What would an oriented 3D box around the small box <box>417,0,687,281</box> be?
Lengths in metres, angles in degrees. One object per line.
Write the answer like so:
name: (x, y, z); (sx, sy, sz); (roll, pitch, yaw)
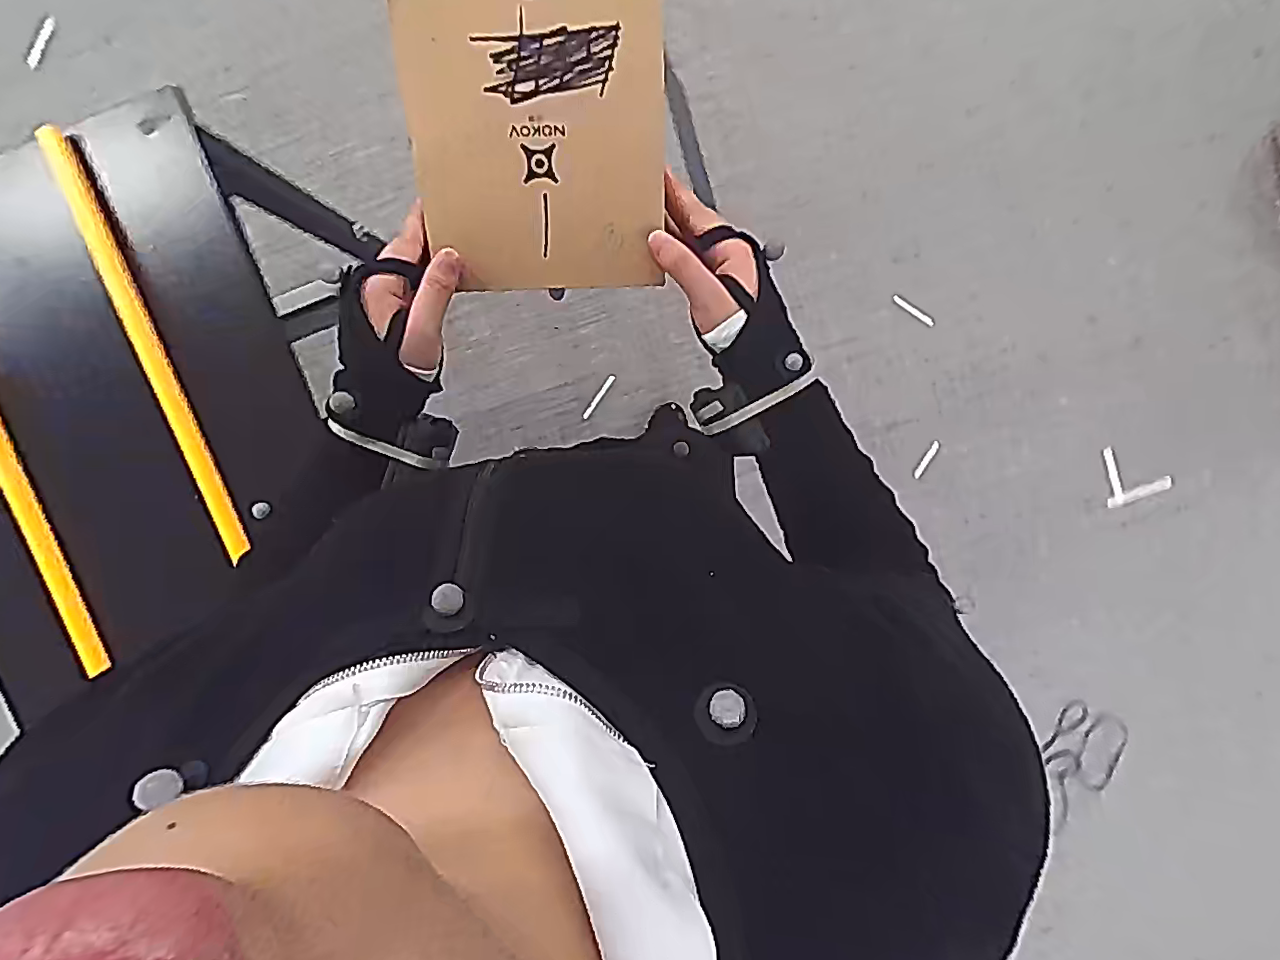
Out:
small box: (-0.058, -0.254, 0.428); (0.168, 0.176, 0.179); (-1, 114, -2)
